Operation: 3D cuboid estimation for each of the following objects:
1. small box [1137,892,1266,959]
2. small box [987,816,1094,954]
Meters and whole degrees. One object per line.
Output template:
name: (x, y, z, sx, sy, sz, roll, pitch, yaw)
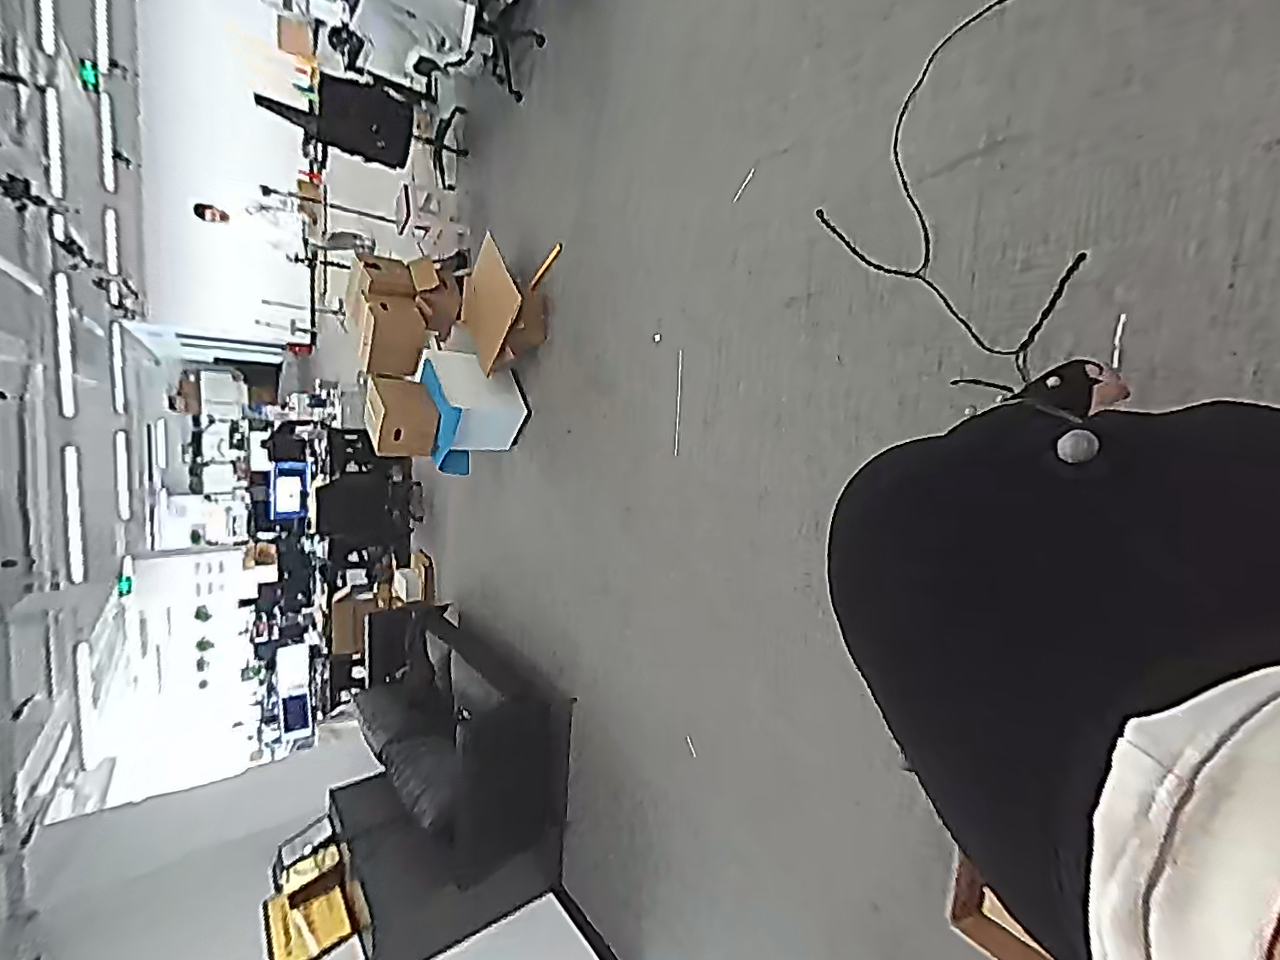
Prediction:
small box: (1.144, 1.008, 1.109, 0.168, 0.176, 0.179, 13, 102, 51)
small box: (0.979, 0.971, 1.318, 0.168, 0.176, 0.179, 11, 101, 50)
